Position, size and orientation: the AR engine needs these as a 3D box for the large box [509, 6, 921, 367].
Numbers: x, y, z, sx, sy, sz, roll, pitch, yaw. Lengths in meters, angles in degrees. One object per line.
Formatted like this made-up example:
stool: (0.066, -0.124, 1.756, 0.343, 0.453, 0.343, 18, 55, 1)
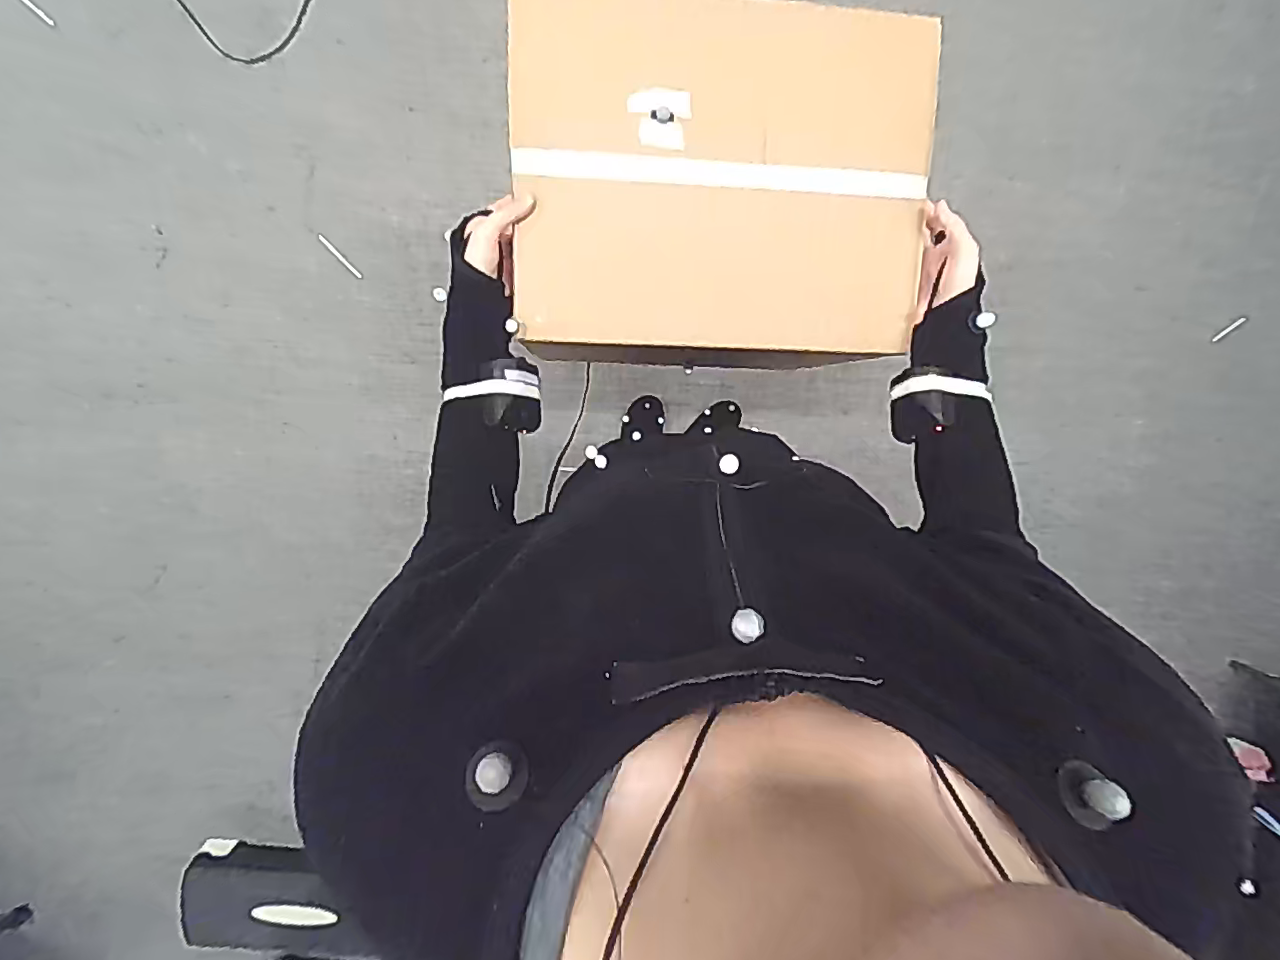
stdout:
large box: (0.067, -0.306, 0.677, 0.408, 0.320, 0.320, 0, 97, -5)
